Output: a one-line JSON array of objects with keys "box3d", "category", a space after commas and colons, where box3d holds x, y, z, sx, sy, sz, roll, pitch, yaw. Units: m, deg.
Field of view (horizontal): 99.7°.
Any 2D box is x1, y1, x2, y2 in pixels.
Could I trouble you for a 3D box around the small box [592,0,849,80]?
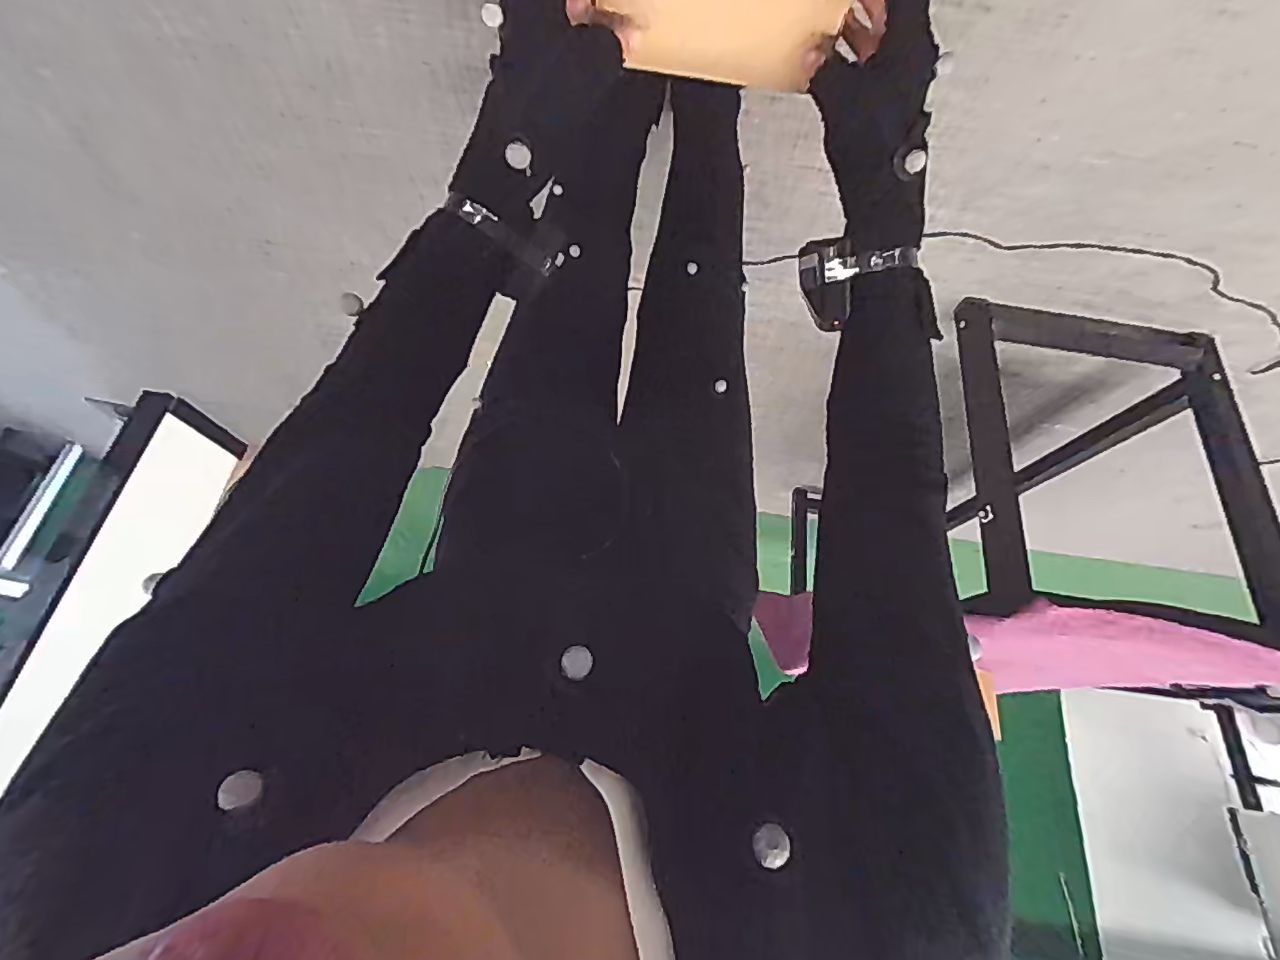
[{"box3d": [0.065, -0.419, 0.363, 0.179, 0.176, 0.168, 5, 157, -5], "category": "small box"}]
